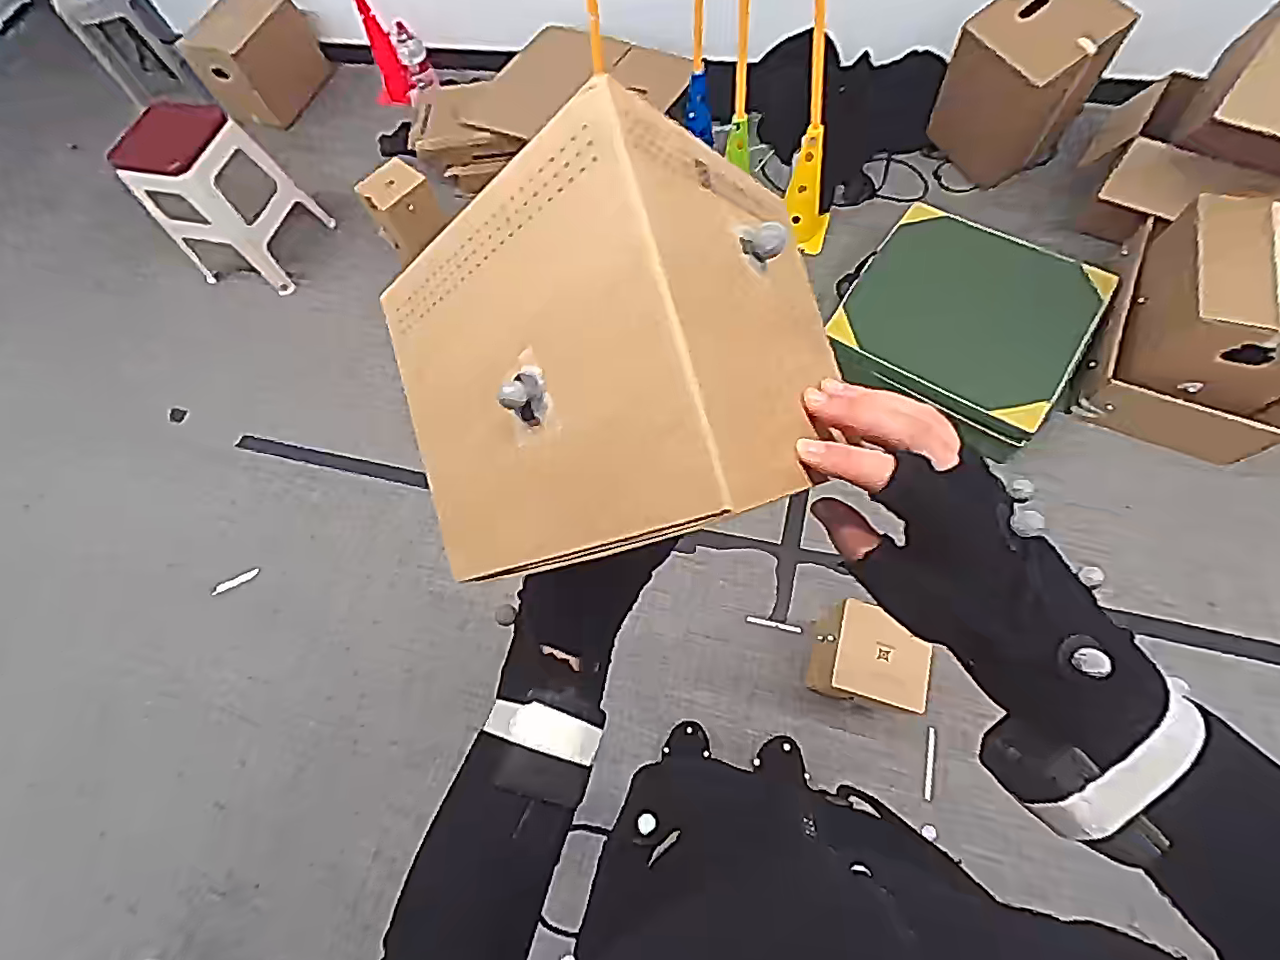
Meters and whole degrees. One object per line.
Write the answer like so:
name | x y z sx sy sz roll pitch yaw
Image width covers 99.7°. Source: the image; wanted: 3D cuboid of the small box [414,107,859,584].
small box | -0.006 -0.053 0.308 0.179 0.168 0.176 -20 85 37

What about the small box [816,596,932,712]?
small box | 0.467 0.356 1.101 0.168 0.176 0.179 15 71 13

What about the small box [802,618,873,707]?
small box | 0.493 0.417 1.250 0.179 0.176 0.168 16 69 11
